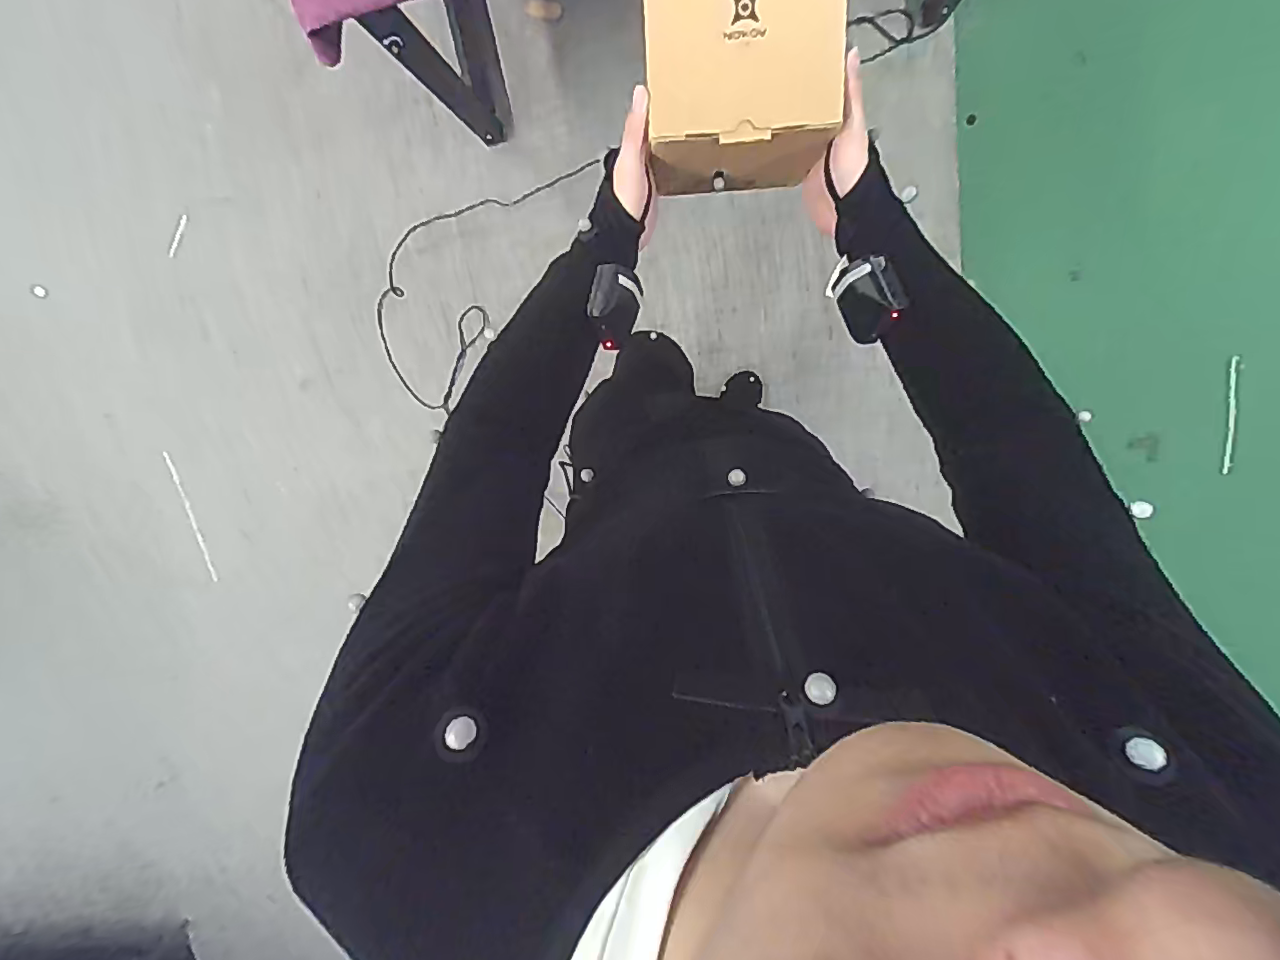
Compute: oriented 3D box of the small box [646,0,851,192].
[{"bbox_3d":[0.091,-0.399,0.517,0.168,0.176,0.179,-3,104,3],"label":"small box"}]
